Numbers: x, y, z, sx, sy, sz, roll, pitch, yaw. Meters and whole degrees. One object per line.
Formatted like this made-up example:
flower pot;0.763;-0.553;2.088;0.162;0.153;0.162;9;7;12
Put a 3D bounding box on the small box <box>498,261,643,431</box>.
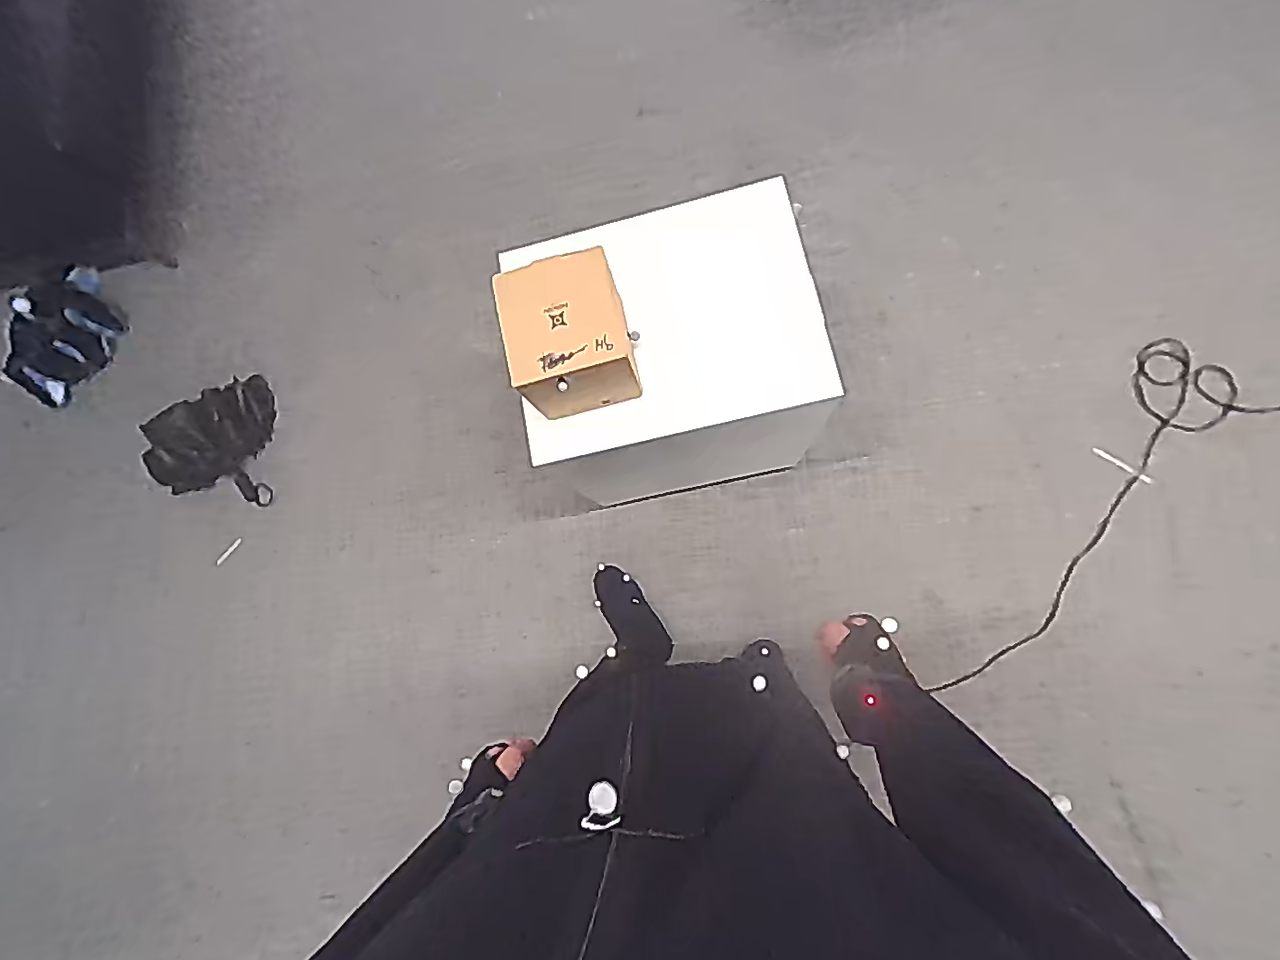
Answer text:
small box;-0.099;-0.195;0.829;0.168;0.176;0.179;-14;77;6
